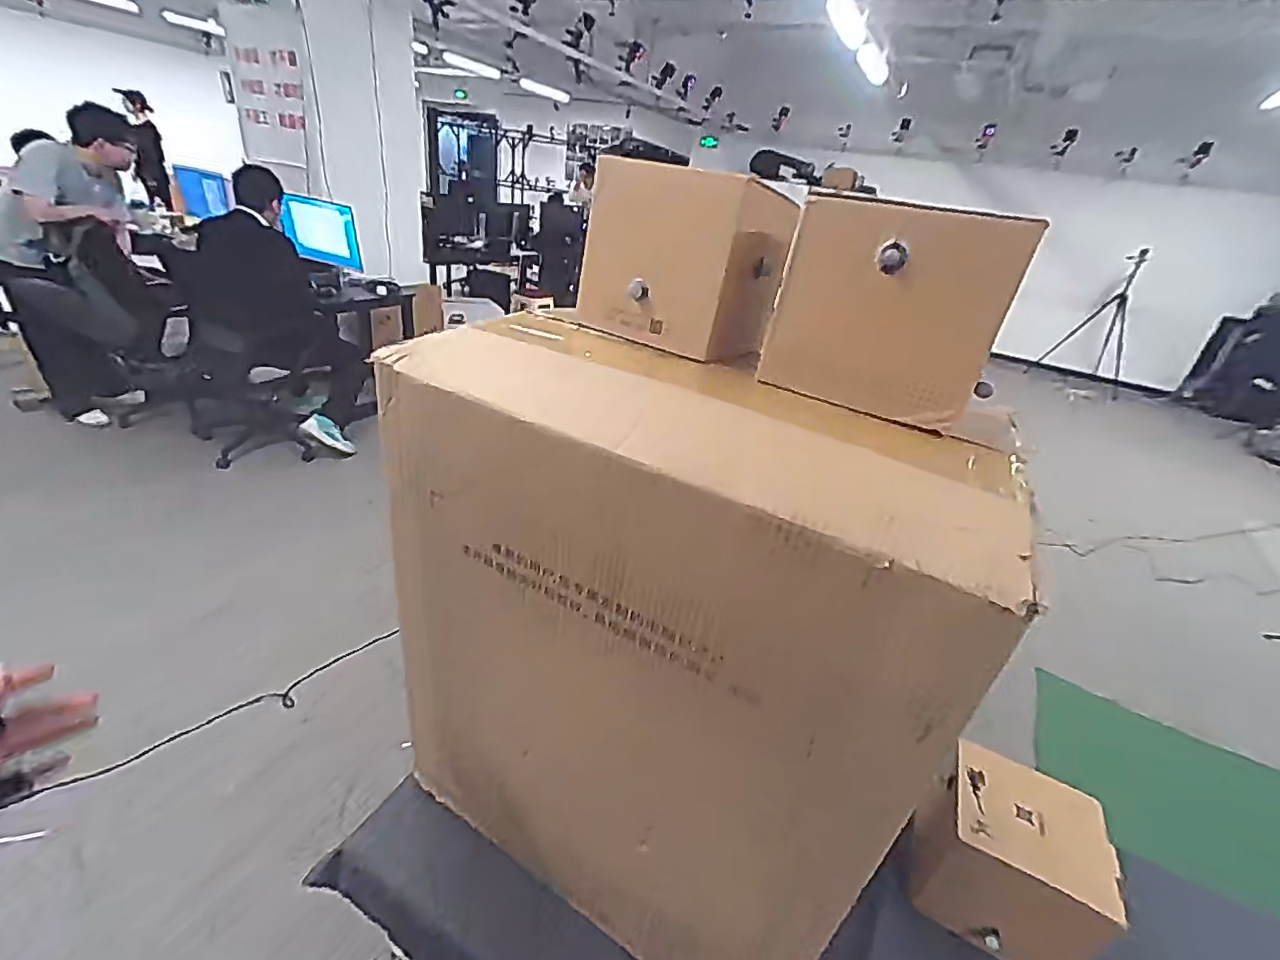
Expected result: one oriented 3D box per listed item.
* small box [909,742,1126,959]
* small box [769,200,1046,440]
[{"bbox_3d":[0.488,0.505,0.725,0.179,0.176,0.168,20,30,22],"label":"small box"},{"bbox_3d":[0.243,-0.152,0.518,0.179,0.176,0.168,23,27,23],"label":"small box"}]
